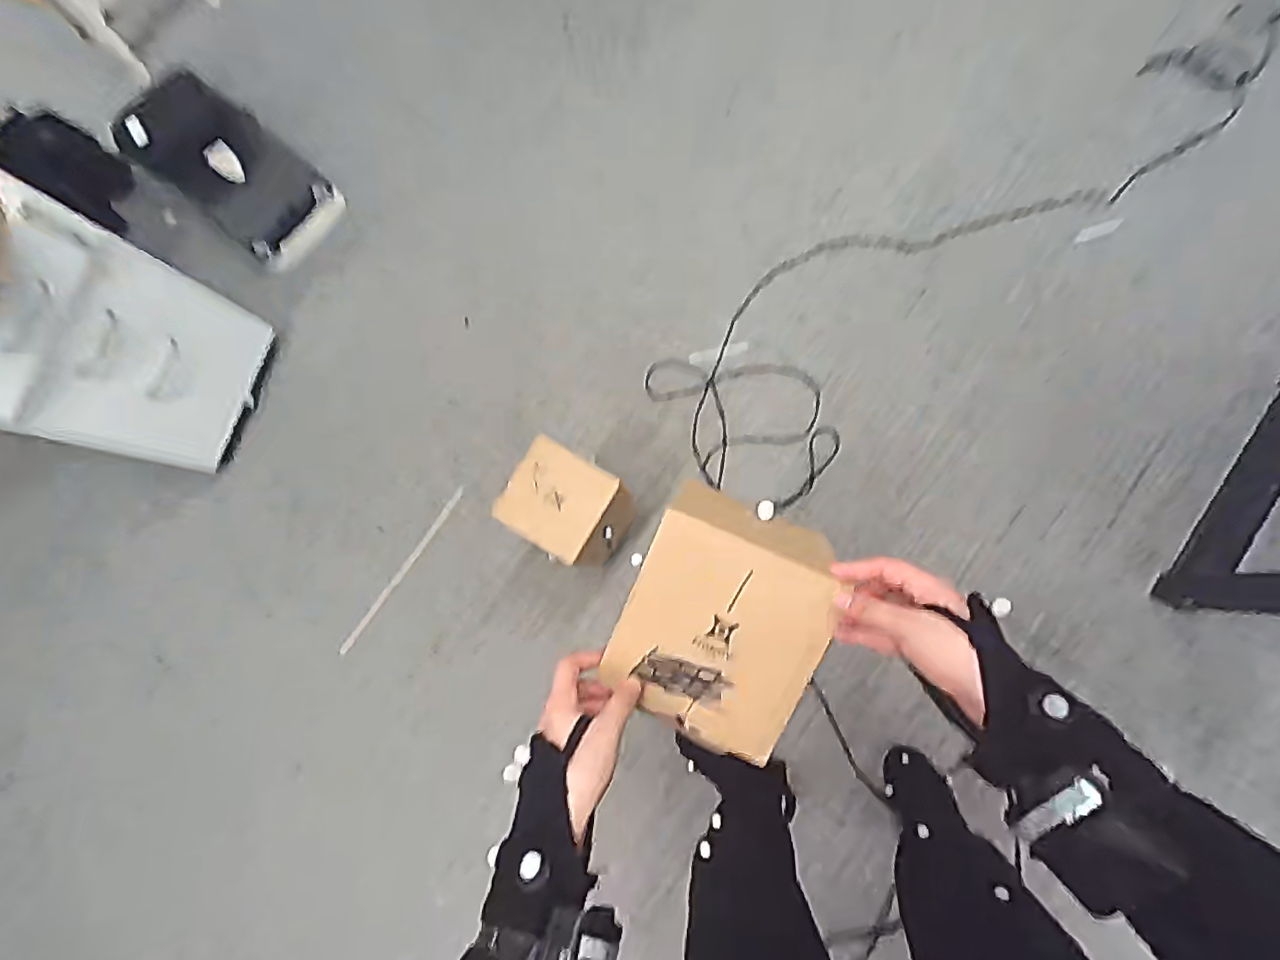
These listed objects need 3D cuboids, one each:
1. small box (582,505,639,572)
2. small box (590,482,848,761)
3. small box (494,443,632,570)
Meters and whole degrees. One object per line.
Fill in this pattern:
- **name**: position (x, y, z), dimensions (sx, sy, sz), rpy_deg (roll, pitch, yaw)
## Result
- **small box**: position (-0.121, 0.086, 1.183), dimensions (0.179, 0.176, 0.168), rpy_deg (32, 85, 13)
- **small box**: position (0.076, 0.118, 0.528), dimensions (0.168, 0.176, 0.179), rpy_deg (24, 101, 7)
- **small box**: position (-0.134, 0.055, 1.021), dimensions (0.179, 0.176, 0.168), rpy_deg (30, 85, 13)
